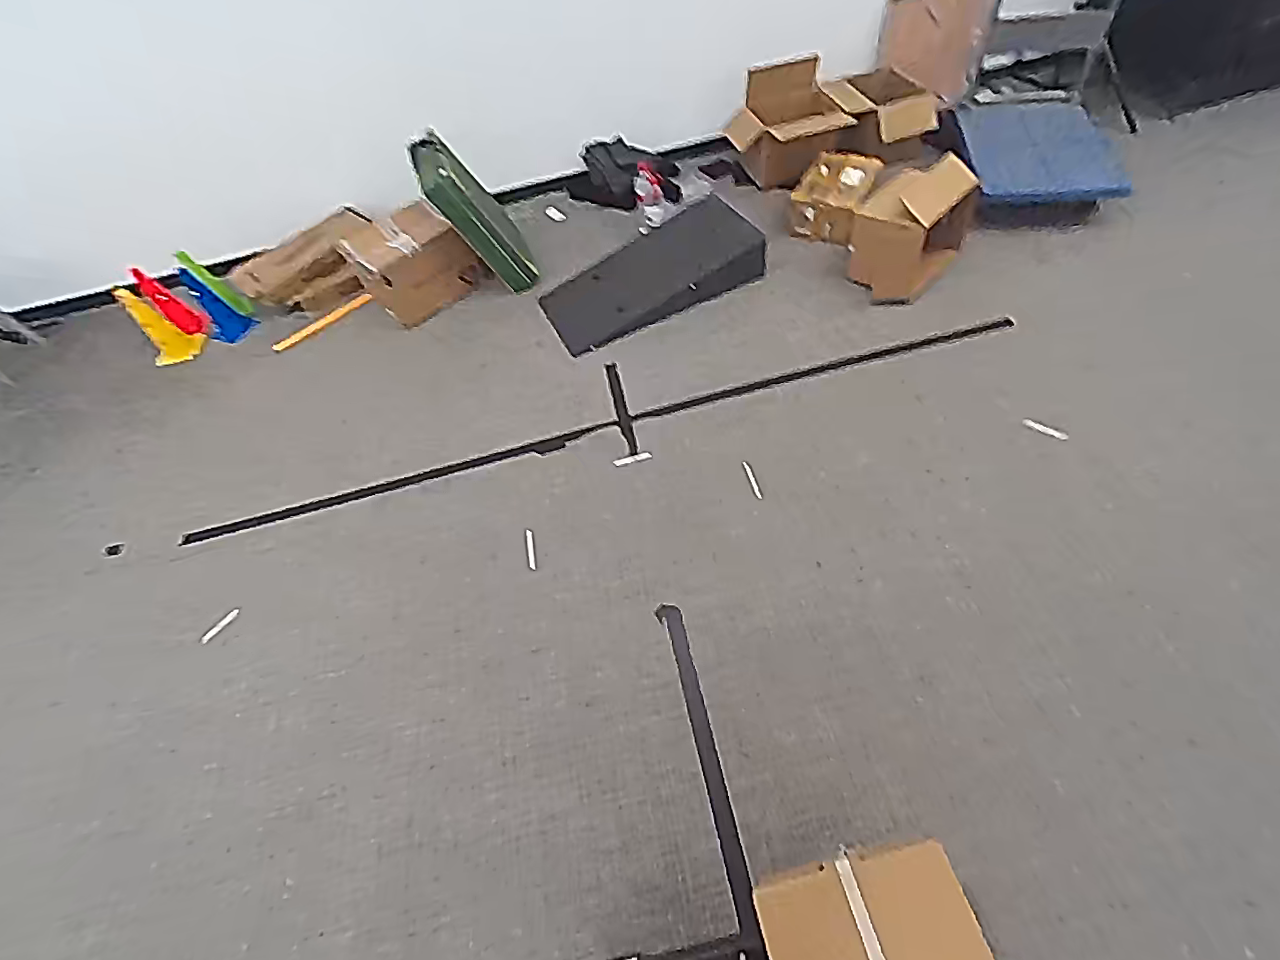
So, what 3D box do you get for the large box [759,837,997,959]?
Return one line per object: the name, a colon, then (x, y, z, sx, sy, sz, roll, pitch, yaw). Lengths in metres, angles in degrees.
large box: (0.413, 0.854, 0.877, 0.320, 0.320, 0.408, -19, 55, 5)
